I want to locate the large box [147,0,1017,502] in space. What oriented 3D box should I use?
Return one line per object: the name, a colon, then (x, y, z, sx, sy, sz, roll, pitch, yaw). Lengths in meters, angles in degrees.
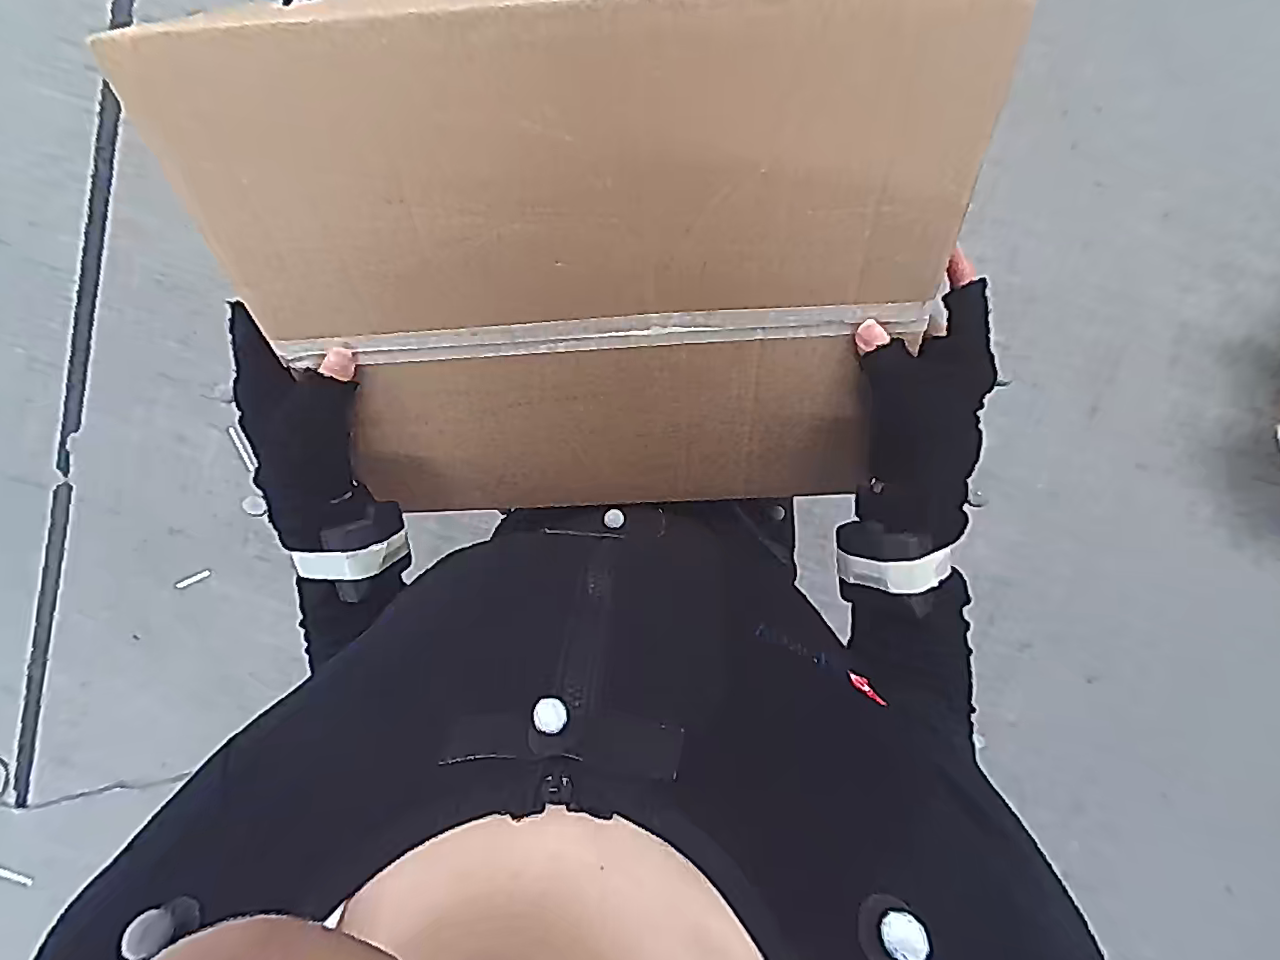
large box: (-0.026, -0.205, 0.449, 0.408, 0.320, 0.320, -3, 136, 2)
